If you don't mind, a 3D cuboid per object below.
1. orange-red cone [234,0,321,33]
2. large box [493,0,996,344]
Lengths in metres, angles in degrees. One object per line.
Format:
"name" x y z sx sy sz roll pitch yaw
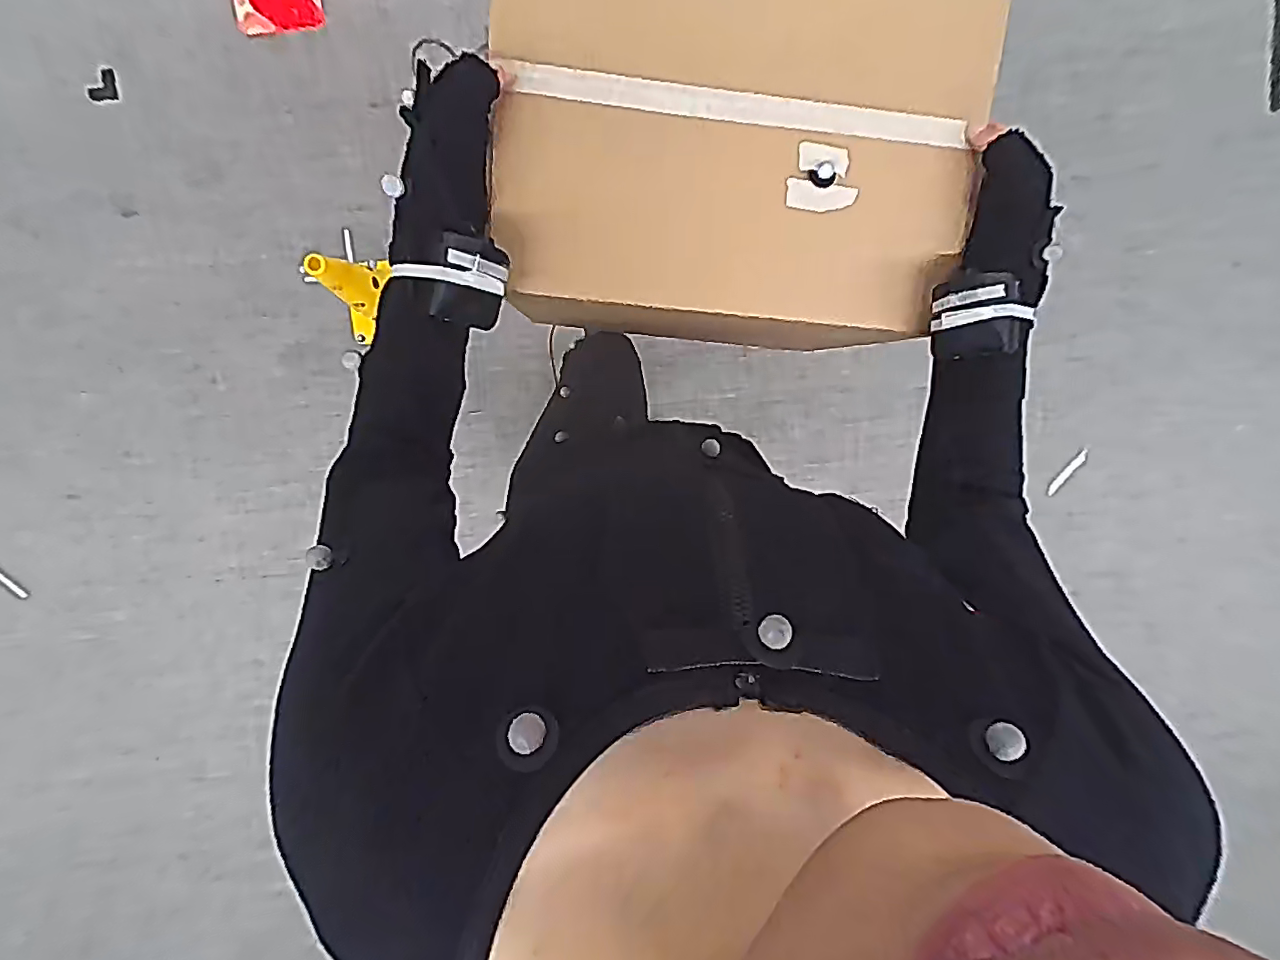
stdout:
"orange-red cone" -0.855 -1.139 1.101 0.198 0.360 0.199 -7 99 -1
"large box" 0.071 -0.328 0.584 0.408 0.320 0.320 4 101 -6
